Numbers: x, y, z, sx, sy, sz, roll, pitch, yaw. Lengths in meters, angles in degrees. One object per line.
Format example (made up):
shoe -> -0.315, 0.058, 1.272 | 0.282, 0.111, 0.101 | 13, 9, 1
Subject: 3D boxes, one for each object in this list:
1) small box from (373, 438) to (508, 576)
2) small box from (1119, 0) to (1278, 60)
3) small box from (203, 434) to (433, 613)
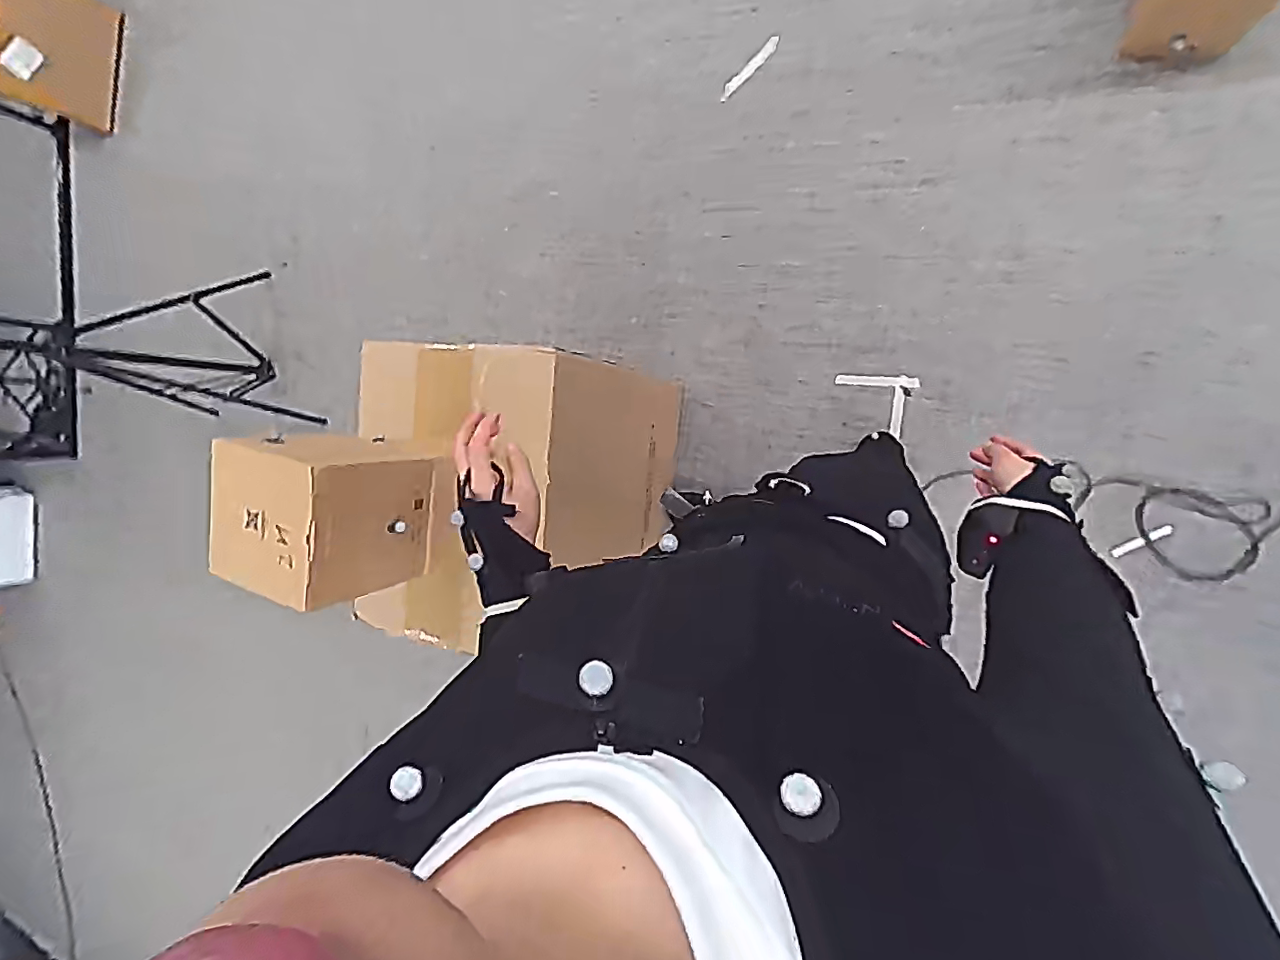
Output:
small box -> -0.319, 0.029, 0.813 | 0.179, 0.176, 0.168 | 10, 98, 22
small box -> 0.949, -0.846, 0.897 | 0.168, 0.176, 0.179 | 17, 102, 21
small box -> -0.388, 0.039, 0.663 | 0.179, 0.176, 0.168 | 12, 100, 21
